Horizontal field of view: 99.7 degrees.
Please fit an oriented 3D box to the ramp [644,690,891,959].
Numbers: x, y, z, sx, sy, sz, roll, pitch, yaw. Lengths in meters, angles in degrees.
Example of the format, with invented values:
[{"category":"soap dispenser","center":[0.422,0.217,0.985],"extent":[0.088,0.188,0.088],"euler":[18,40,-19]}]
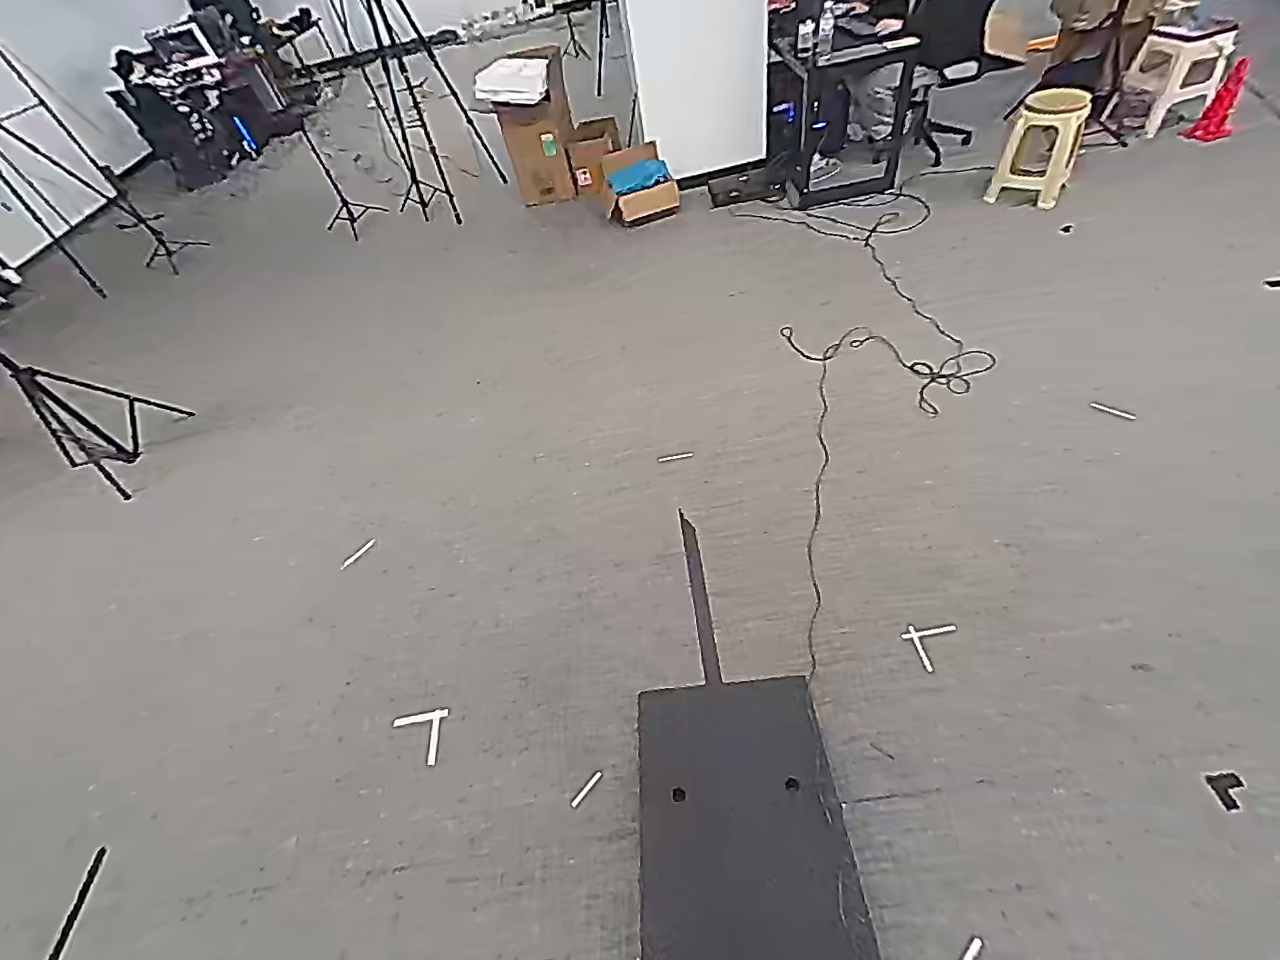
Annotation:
[{"category":"ramp","center":[0.262,0.948,1.182],"extent":[0.509,0.206,0.991],"euler":[-12,46,5]}]
